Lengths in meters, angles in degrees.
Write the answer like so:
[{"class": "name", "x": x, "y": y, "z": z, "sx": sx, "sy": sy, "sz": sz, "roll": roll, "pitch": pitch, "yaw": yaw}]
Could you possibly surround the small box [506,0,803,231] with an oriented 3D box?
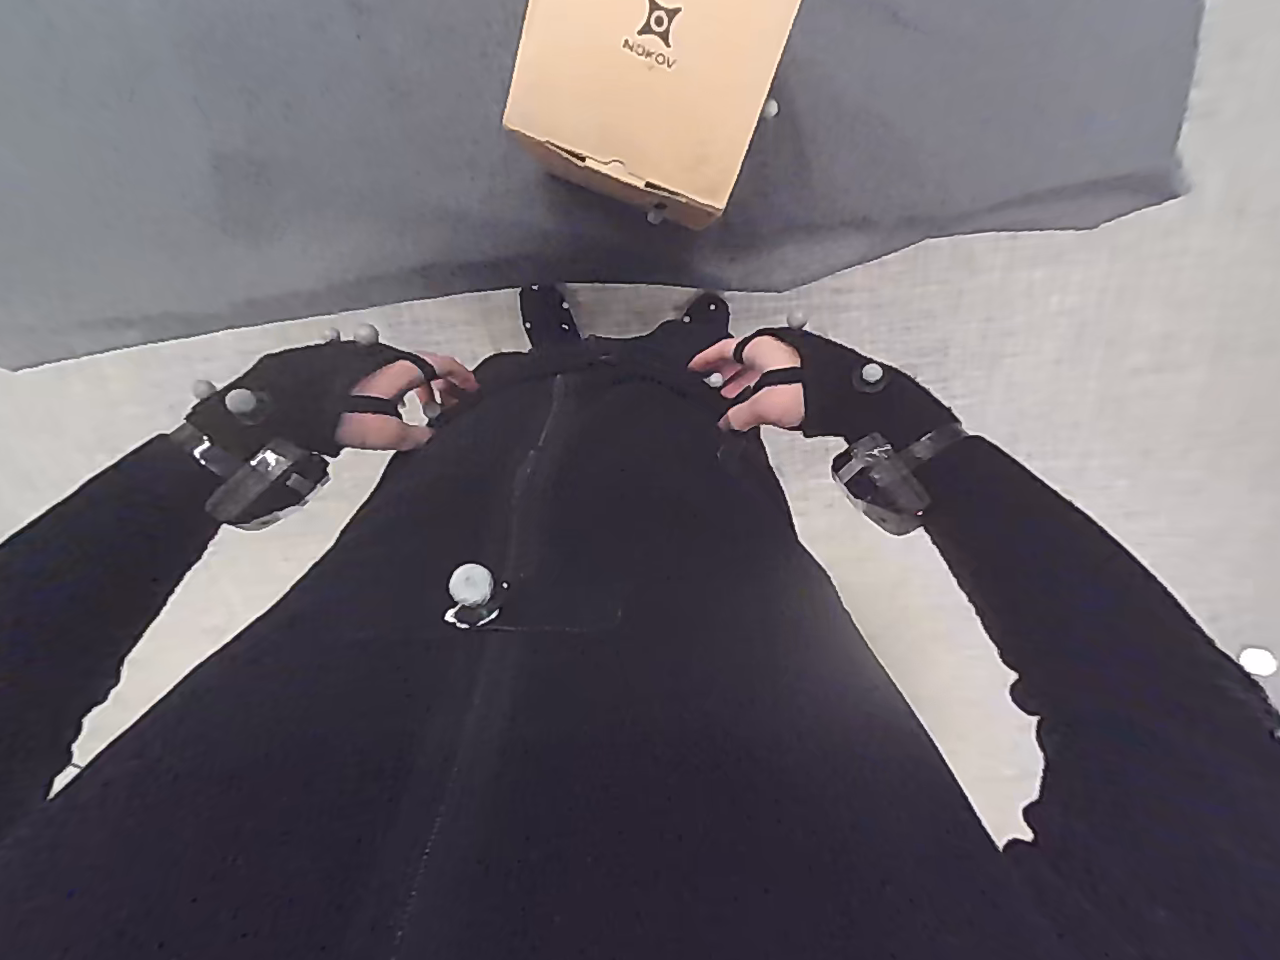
[{"class": "small box", "x": 0.010, "y": -0.314, "z": 0.426, "sx": 0.168, "sy": 0.176, "sz": 0.179, "roll": 17, "pitch": 109, "yaw": -8}]
